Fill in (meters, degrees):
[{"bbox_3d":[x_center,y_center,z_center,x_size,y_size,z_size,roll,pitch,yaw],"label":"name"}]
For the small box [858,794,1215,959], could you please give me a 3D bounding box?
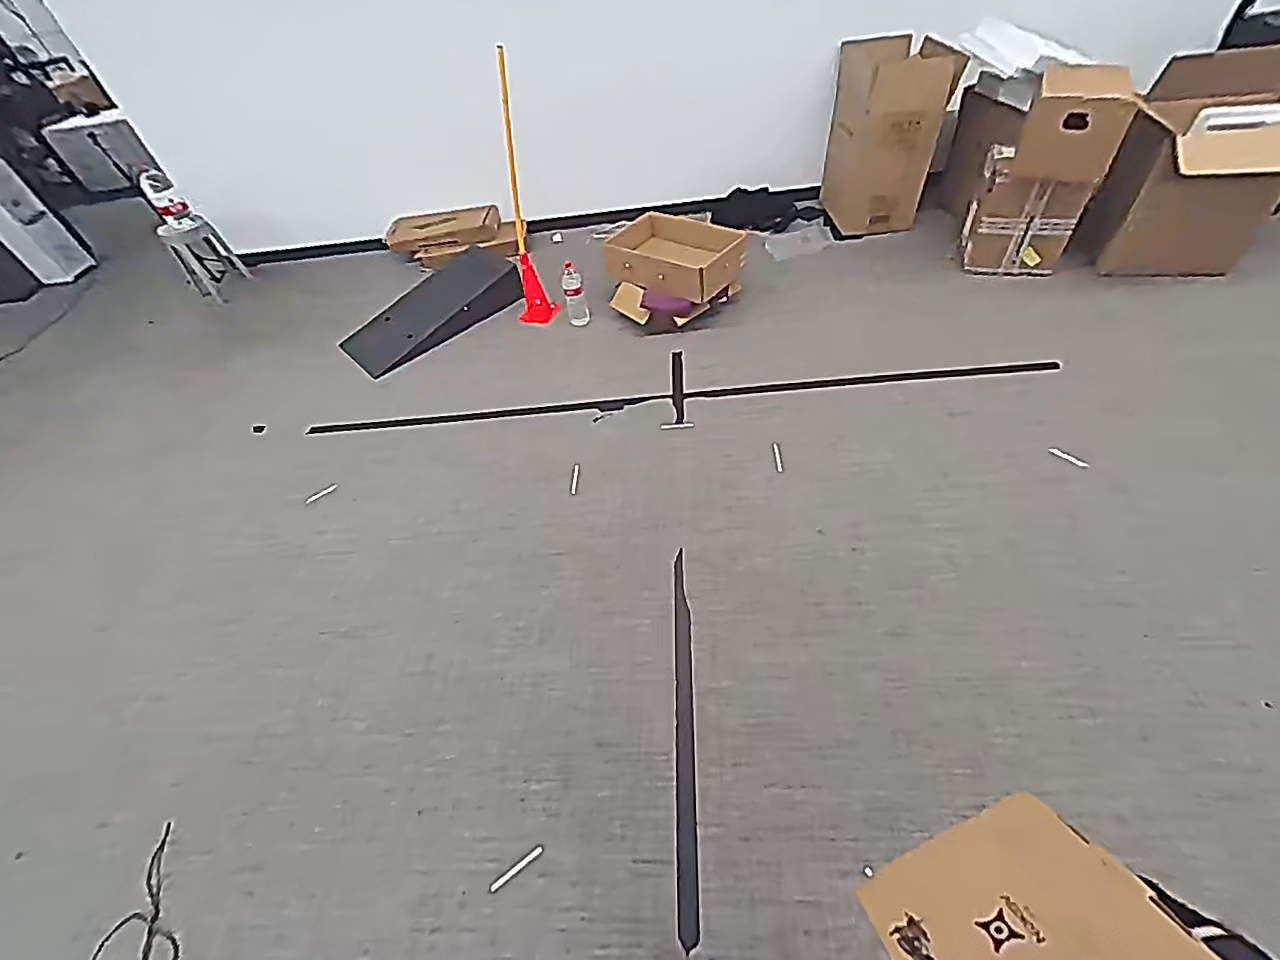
[{"bbox_3d":[0.306,0.393,0.404,0.179,0.176,0.168,-28,7,0],"label":"small box"}]
